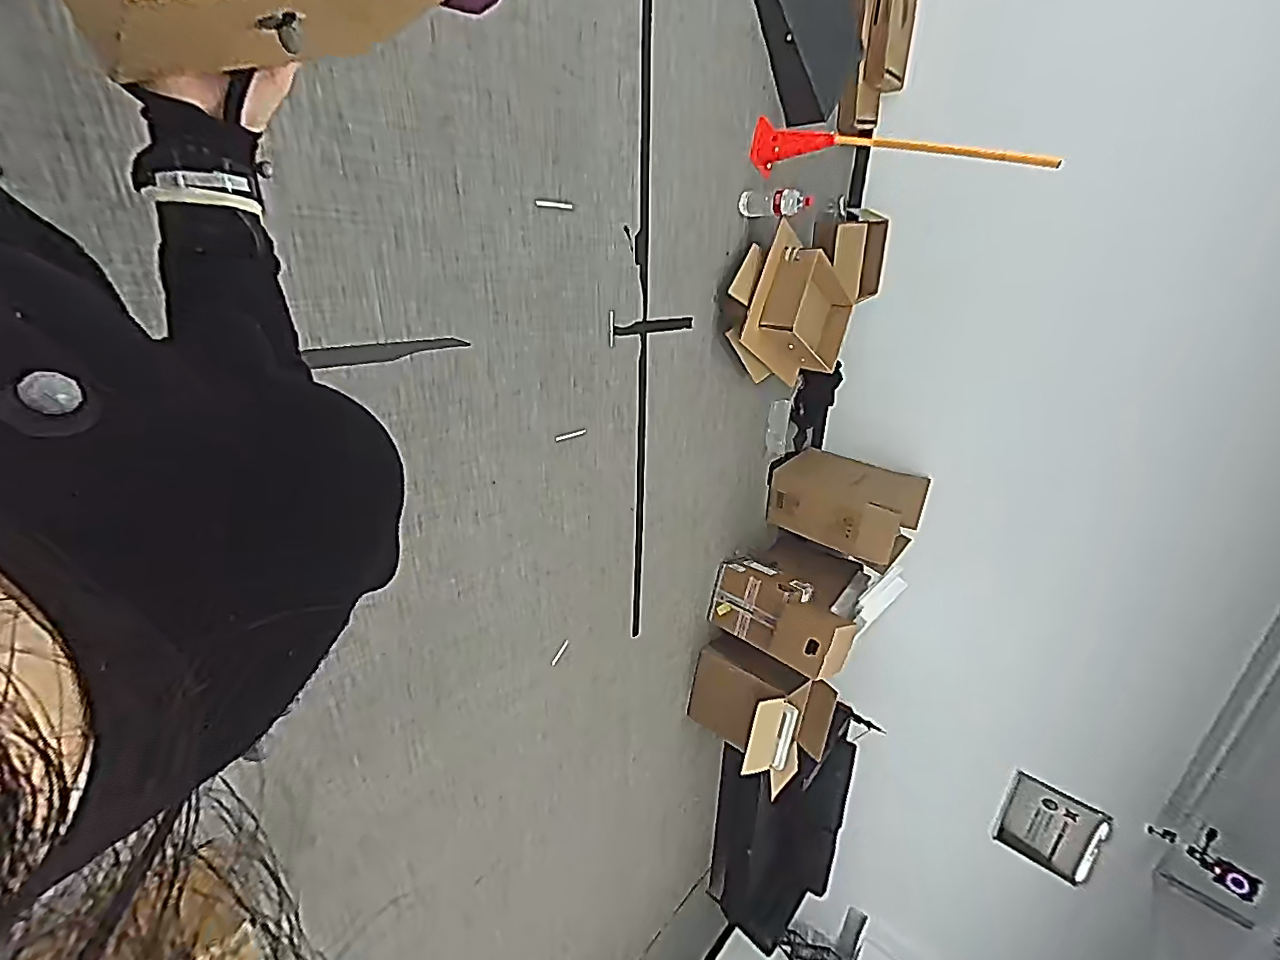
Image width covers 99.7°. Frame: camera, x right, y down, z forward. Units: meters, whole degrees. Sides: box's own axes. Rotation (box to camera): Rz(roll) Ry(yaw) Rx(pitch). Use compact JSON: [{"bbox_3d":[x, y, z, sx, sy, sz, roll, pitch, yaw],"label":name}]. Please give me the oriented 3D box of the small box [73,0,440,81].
[{"bbox_3d":[-0.238,-0.341,0.296,0.179,0.176,0.168,-36,130,-31],"label":"small box"}]
